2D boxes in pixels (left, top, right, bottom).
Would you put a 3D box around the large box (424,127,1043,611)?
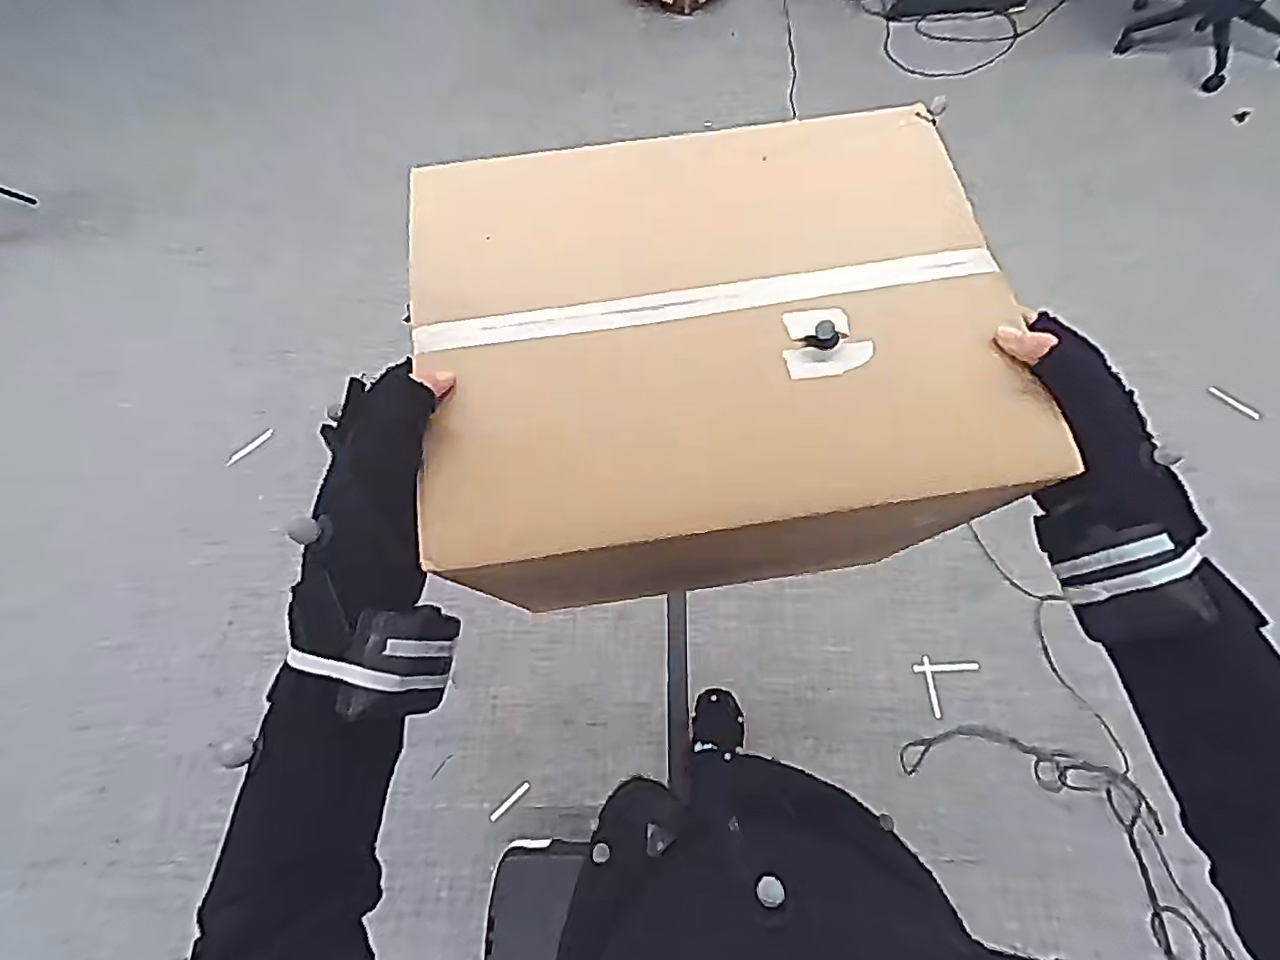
[{"bbox_3d":[0.047,-0.072,0.533,0.408,0.320,0.320,-9,72,-2],"label":"large box"}]
